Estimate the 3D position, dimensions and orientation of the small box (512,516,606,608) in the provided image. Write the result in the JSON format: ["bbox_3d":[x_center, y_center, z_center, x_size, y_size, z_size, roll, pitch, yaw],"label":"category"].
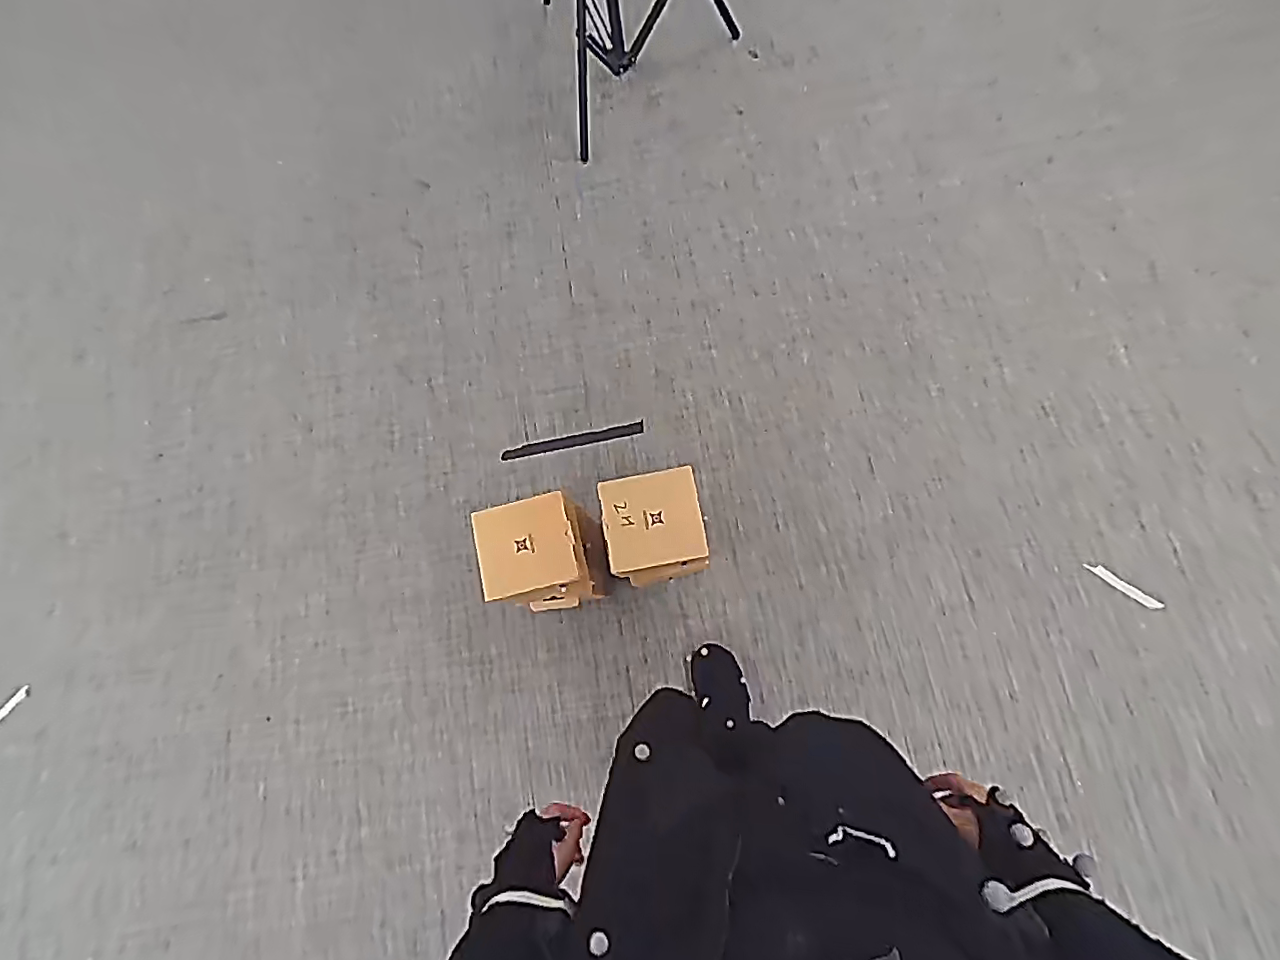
[{"bbox_3d":[-0.173,0.185,1.195,0.168,0.176,0.179,-8,75,4],"label":"small box"}]
